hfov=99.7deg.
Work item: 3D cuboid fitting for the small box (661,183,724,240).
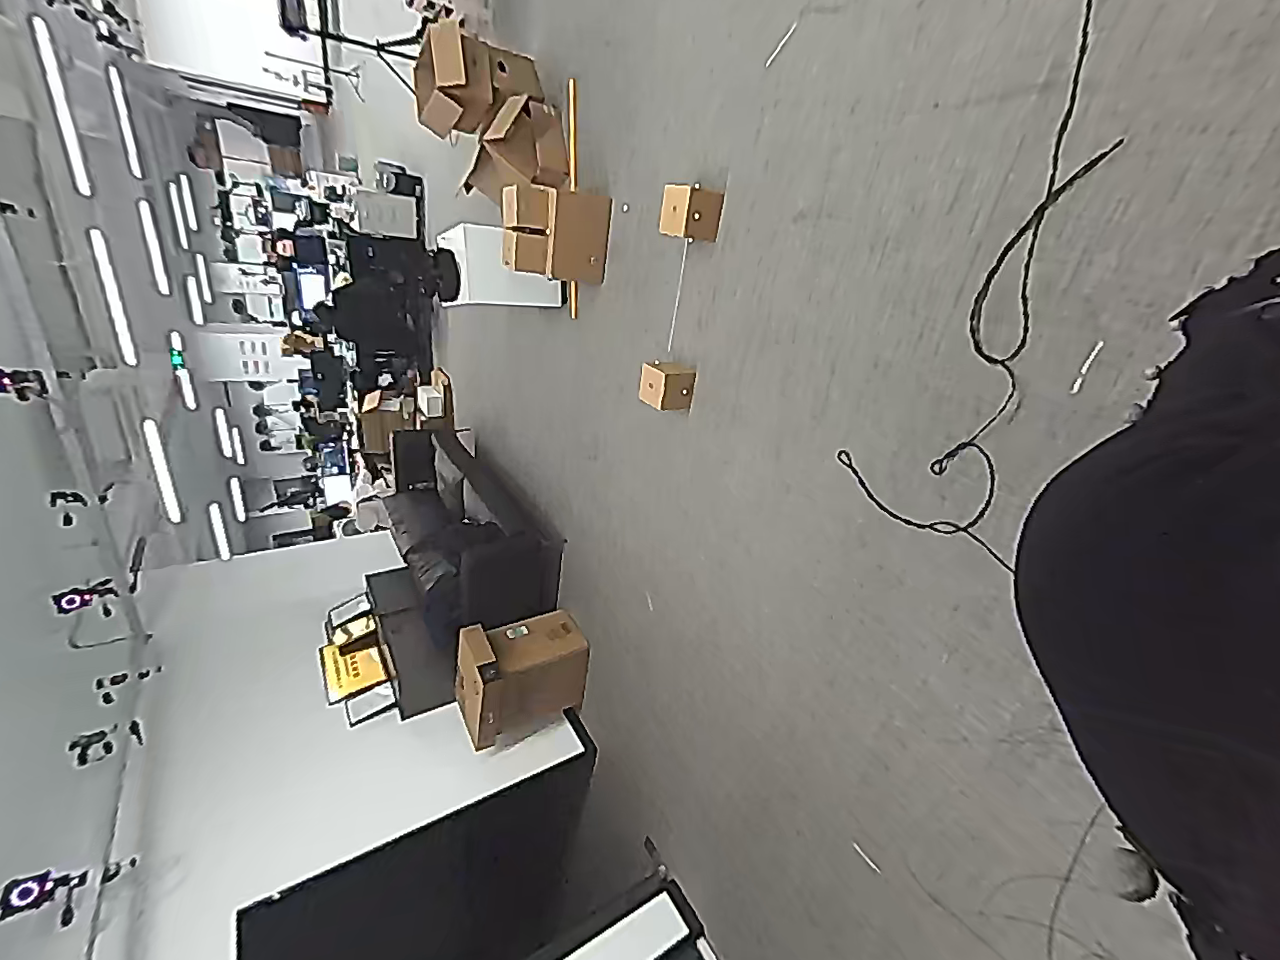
[{"bbox_3d":[0.205,-1.040,2.095,0.168,0.176,0.179,38,130,46],"label":"small box"}]

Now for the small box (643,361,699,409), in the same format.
[{"bbox_3d":[0.135,-0.422,2.383,0.179,0.176,0.168,38,130,46],"label":"small box"}]
